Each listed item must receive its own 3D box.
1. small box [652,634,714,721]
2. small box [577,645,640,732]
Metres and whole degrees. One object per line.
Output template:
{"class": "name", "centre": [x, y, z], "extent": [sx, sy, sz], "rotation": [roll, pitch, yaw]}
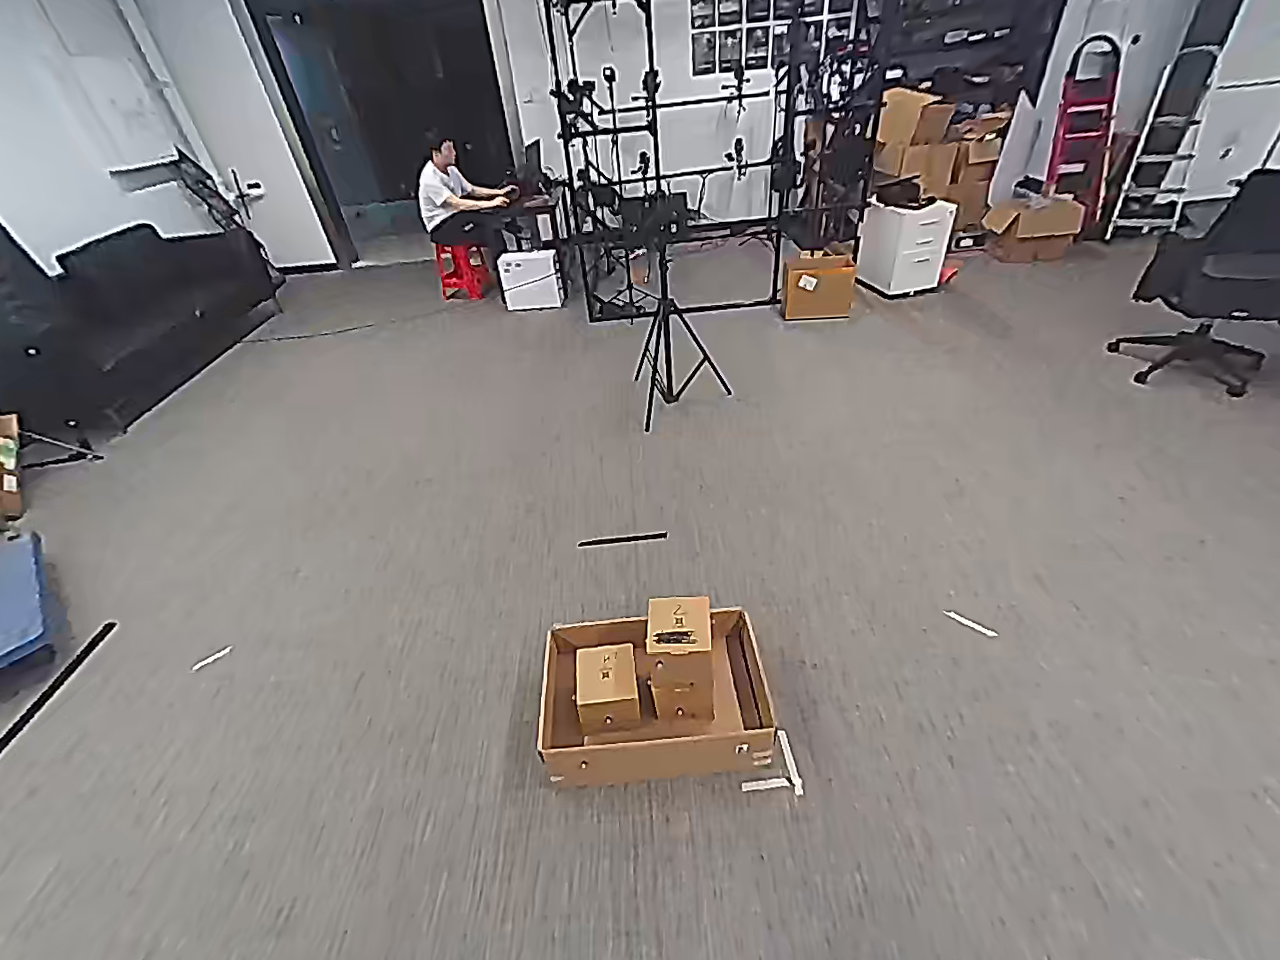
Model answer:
{"class": "small box", "centre": [0.125, 0.570, 1.562], "extent": [0.168, 0.176, 0.179], "rotation": [-5, 38, 5]}
{"class": "small box", "centre": [-0.089, 0.600, 1.545], "extent": [0.168, 0.176, 0.179], "rotation": [-5, 37, -3]}
